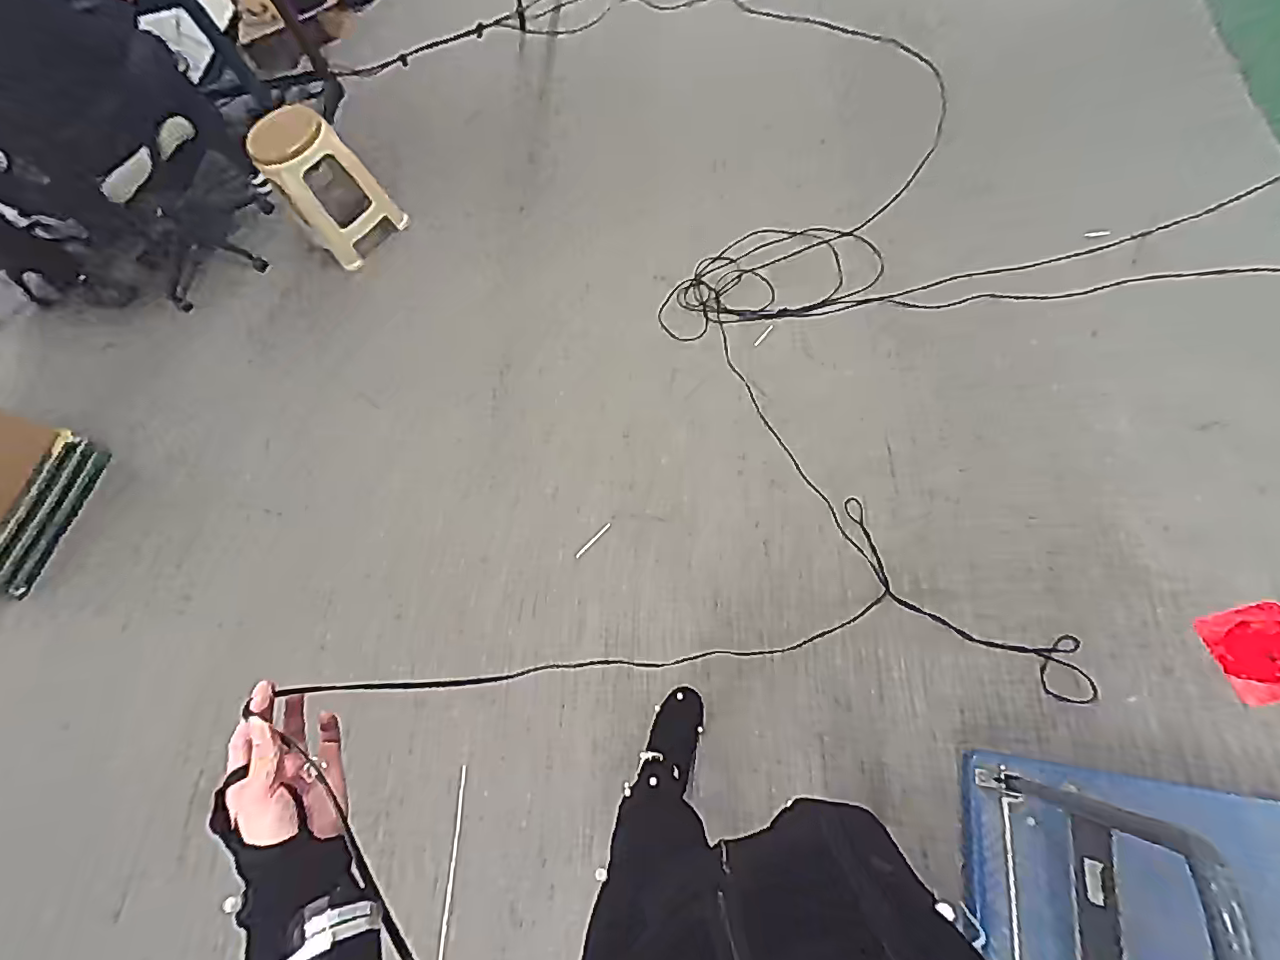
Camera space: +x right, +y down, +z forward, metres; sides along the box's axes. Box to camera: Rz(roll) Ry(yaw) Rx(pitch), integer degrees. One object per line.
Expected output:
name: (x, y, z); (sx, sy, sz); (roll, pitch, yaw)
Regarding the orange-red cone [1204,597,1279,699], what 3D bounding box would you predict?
orange-red cone: (1.402, 0.312, 1.076); (0.198, 0.360, 0.199); (-16, 64, 4)
